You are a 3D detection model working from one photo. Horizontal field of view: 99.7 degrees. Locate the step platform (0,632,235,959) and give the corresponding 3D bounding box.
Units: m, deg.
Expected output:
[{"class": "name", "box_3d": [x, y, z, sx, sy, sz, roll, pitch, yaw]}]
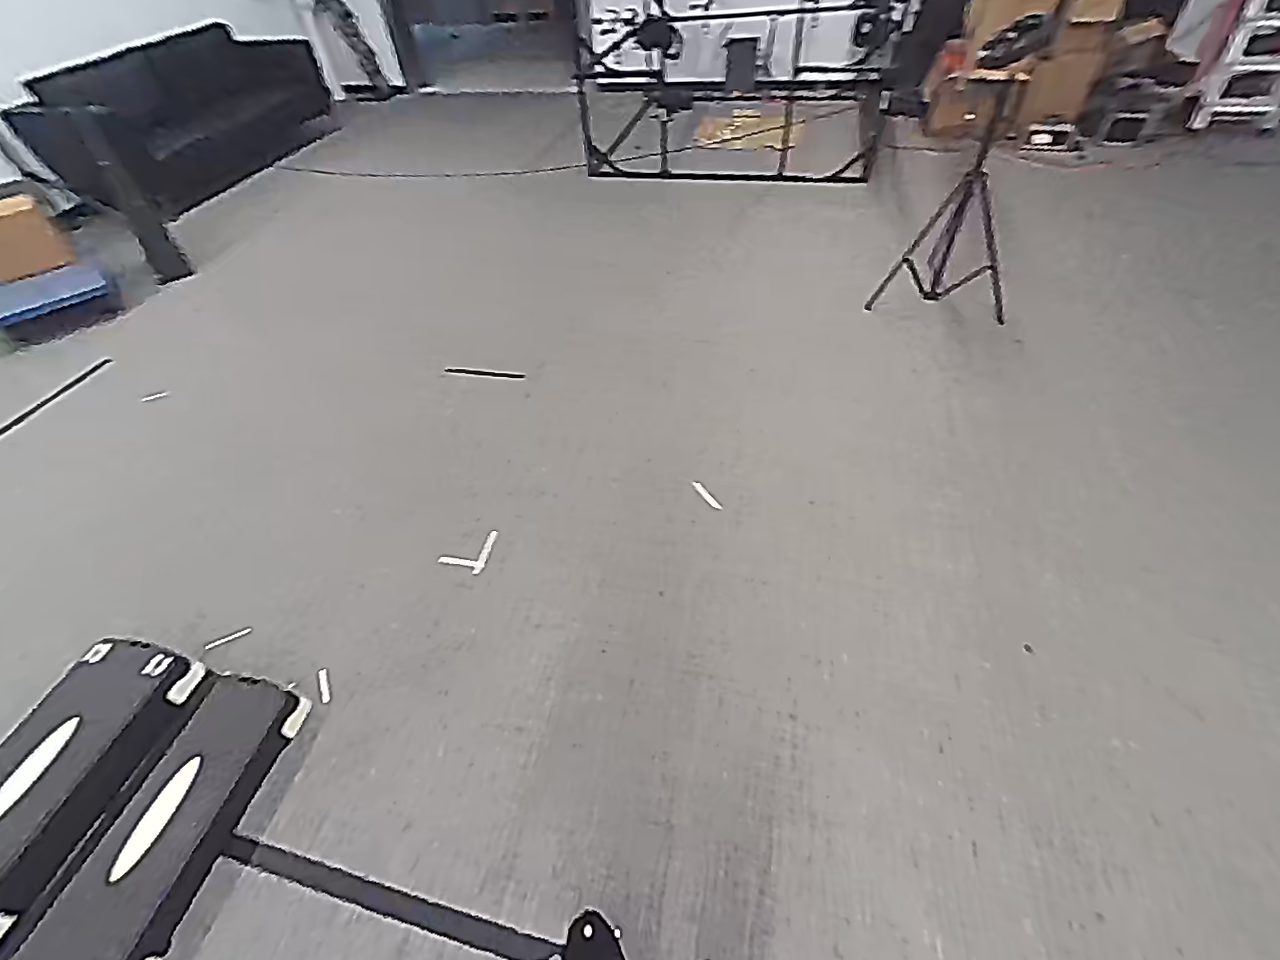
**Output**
[{"class": "step platform", "box_3d": [-1.390, 0.726, 1.342, 0.286, 0.204, 0.684, 7, 47, 11]}]
